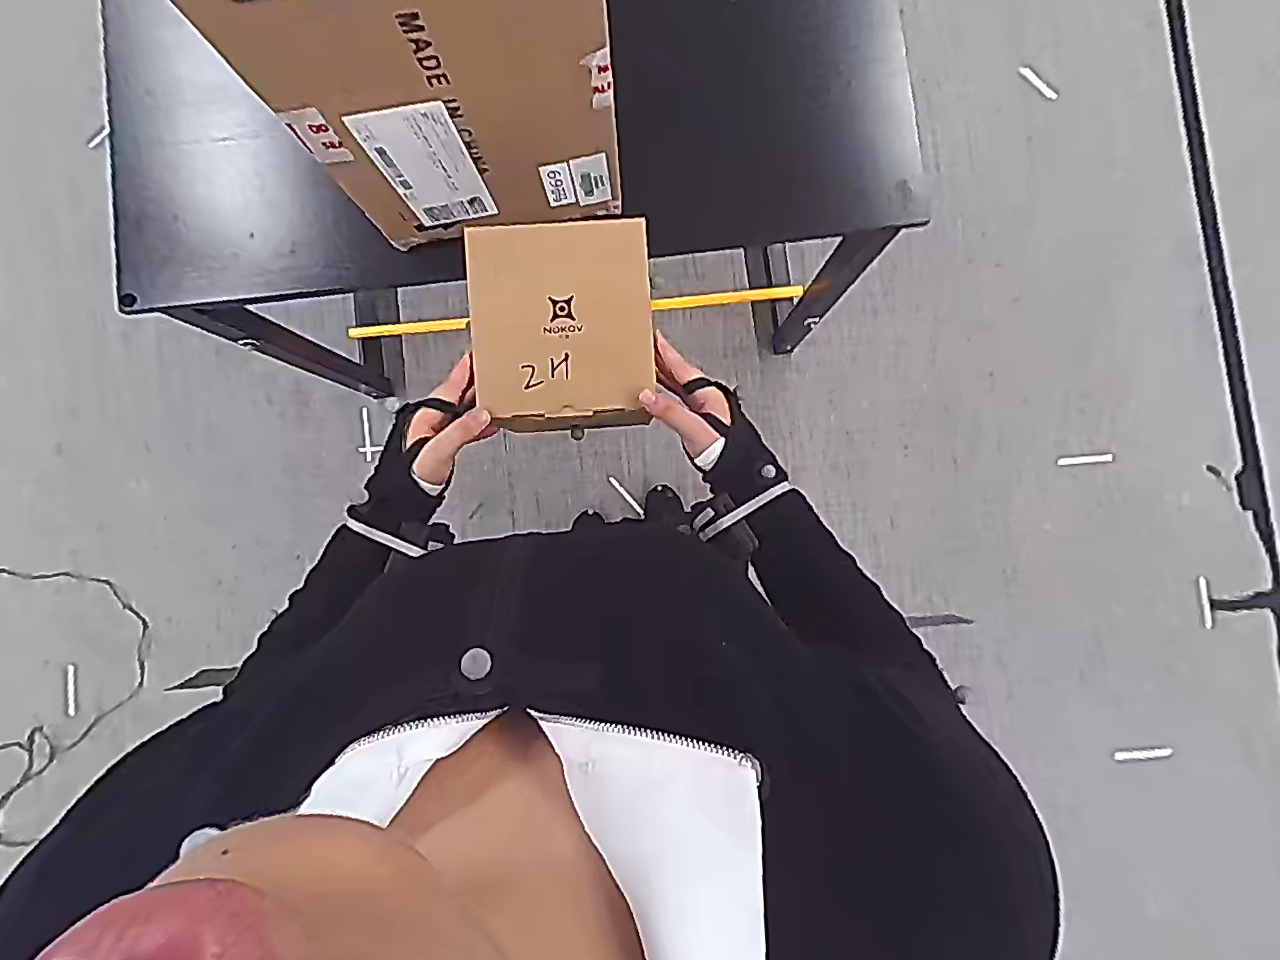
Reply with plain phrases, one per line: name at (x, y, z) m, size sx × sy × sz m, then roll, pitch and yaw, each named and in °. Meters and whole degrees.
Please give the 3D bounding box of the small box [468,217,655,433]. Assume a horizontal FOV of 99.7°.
small box at (-0.074, -0.149, 0.571) m, size 0.168 × 0.176 × 0.179 m, roll -4°, pitch 89°, yaw -1°
